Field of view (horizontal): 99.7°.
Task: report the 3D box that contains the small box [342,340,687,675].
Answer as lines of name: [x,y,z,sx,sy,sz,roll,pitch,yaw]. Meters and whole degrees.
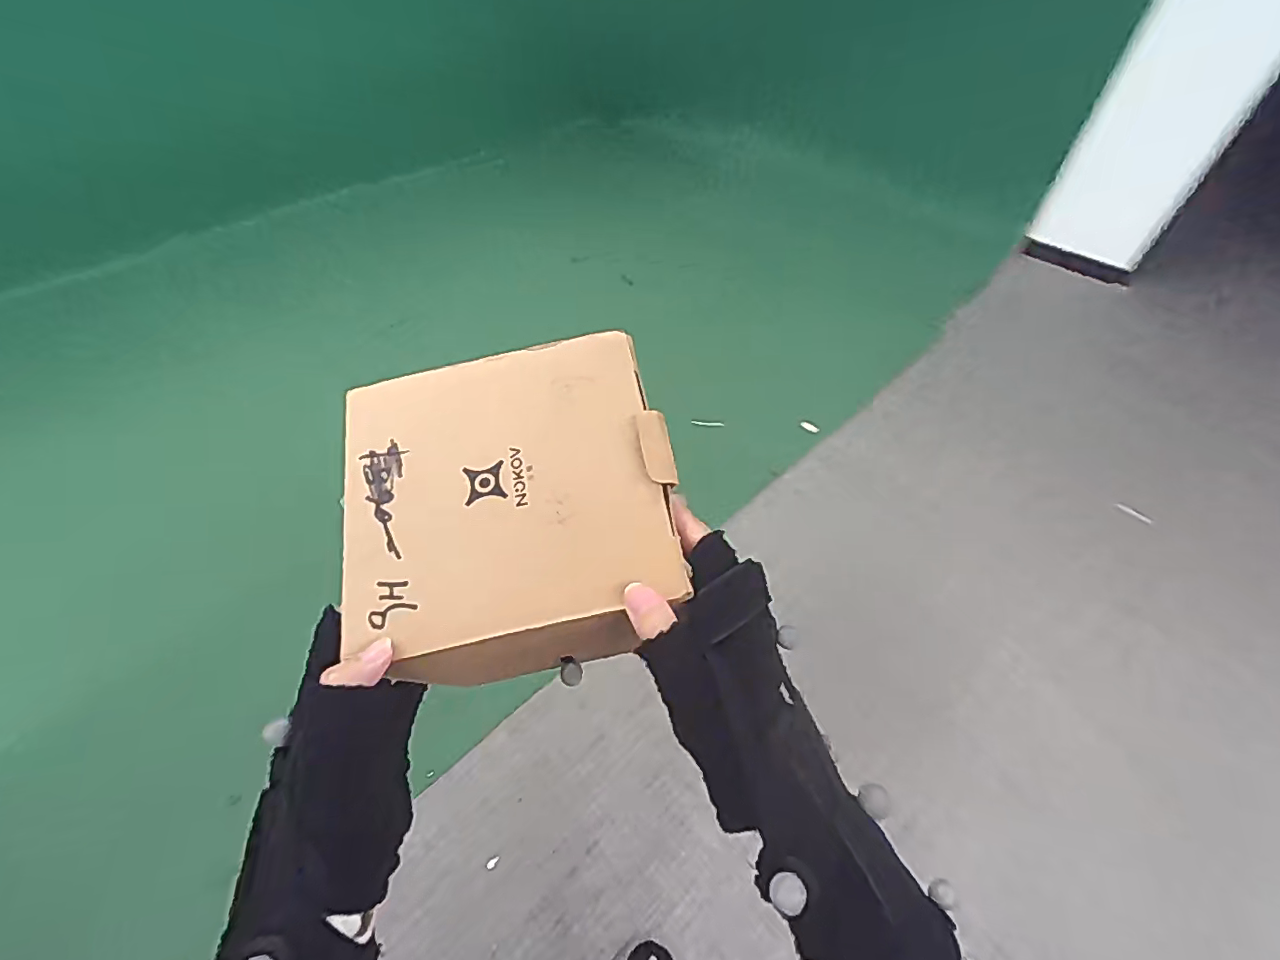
small box: [-0.069,0.033,0.371,0.179,0.176,0.168,-10,66,0]
